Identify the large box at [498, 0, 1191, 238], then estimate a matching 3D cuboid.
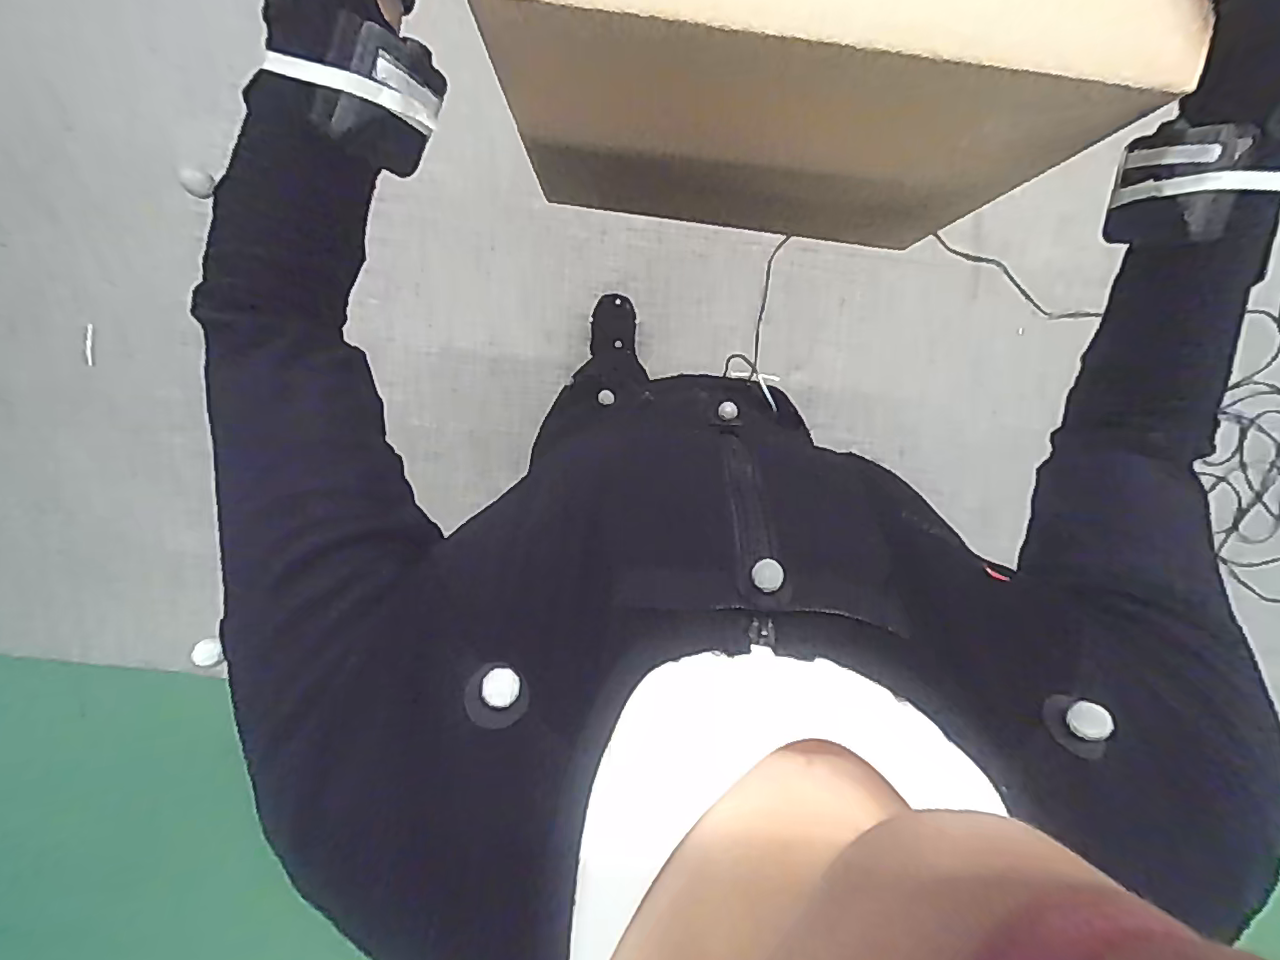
[{"bbox_3d":[0.119,-0.417,0.432,0.408,0.320,0.320,6,98,-4],"label":"large box"}]
